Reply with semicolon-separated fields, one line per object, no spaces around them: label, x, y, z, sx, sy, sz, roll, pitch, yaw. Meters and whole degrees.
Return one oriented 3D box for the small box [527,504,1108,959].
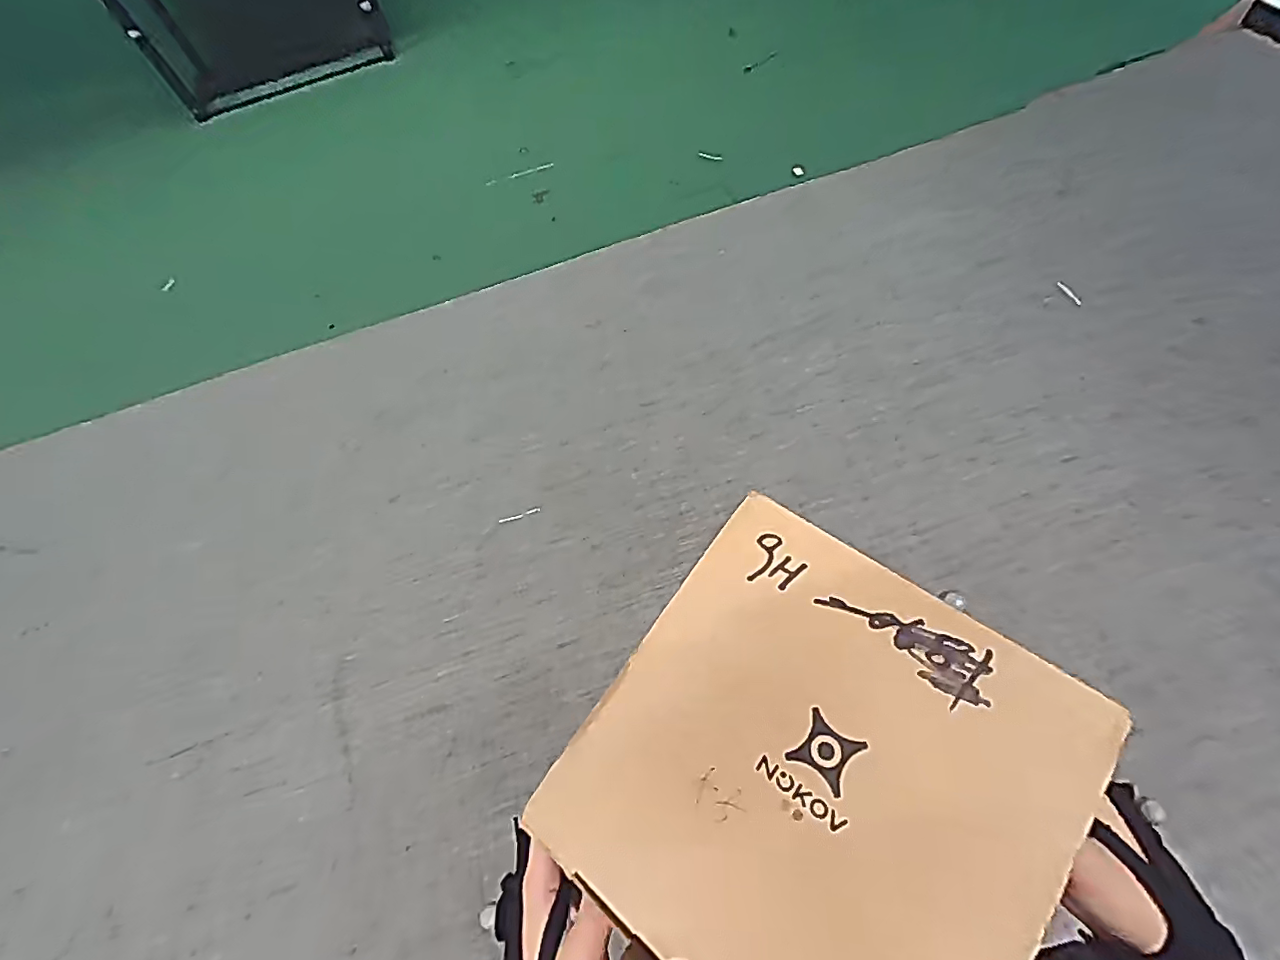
small box;0.079;0.149;0.288;0.168;0.176;0.179;33;76;22
